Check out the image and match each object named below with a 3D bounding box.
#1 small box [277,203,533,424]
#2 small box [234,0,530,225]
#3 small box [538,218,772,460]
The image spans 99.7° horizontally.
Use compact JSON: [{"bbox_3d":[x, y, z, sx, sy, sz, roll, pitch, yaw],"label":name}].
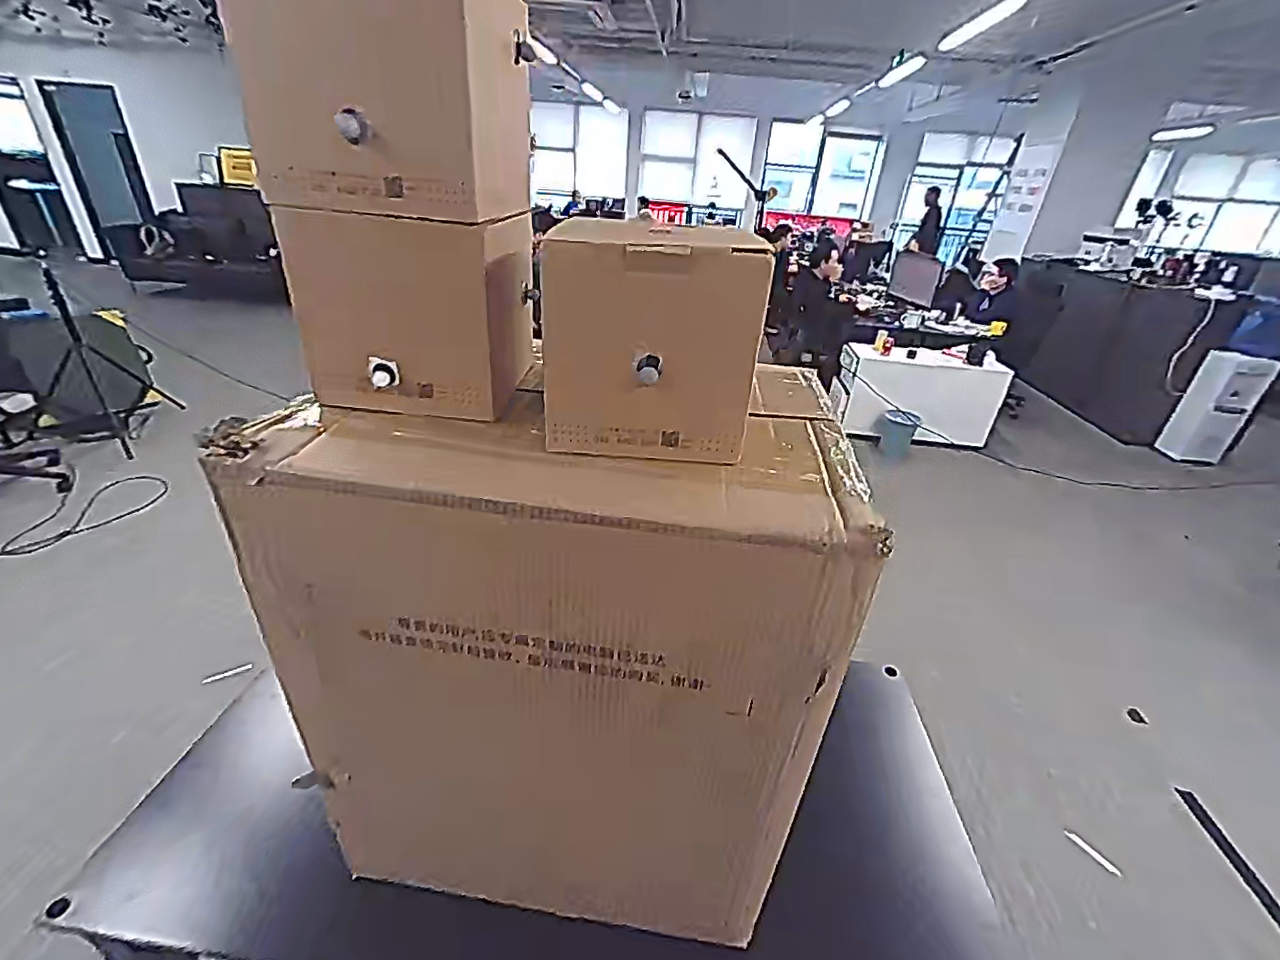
[{"bbox_3d":[-0.201,-0.169,0.522,0.168,0.176,0.179,4,31,-1],"label":"small box"},{"bbox_3d":[-0.190,-0.312,0.439,0.168,0.176,0.179,5,30,1],"label":"small box"},{"bbox_3d":[0.010,-0.129,0.481,0.168,0.176,0.179,4,31,-1],"label":"small box"}]
